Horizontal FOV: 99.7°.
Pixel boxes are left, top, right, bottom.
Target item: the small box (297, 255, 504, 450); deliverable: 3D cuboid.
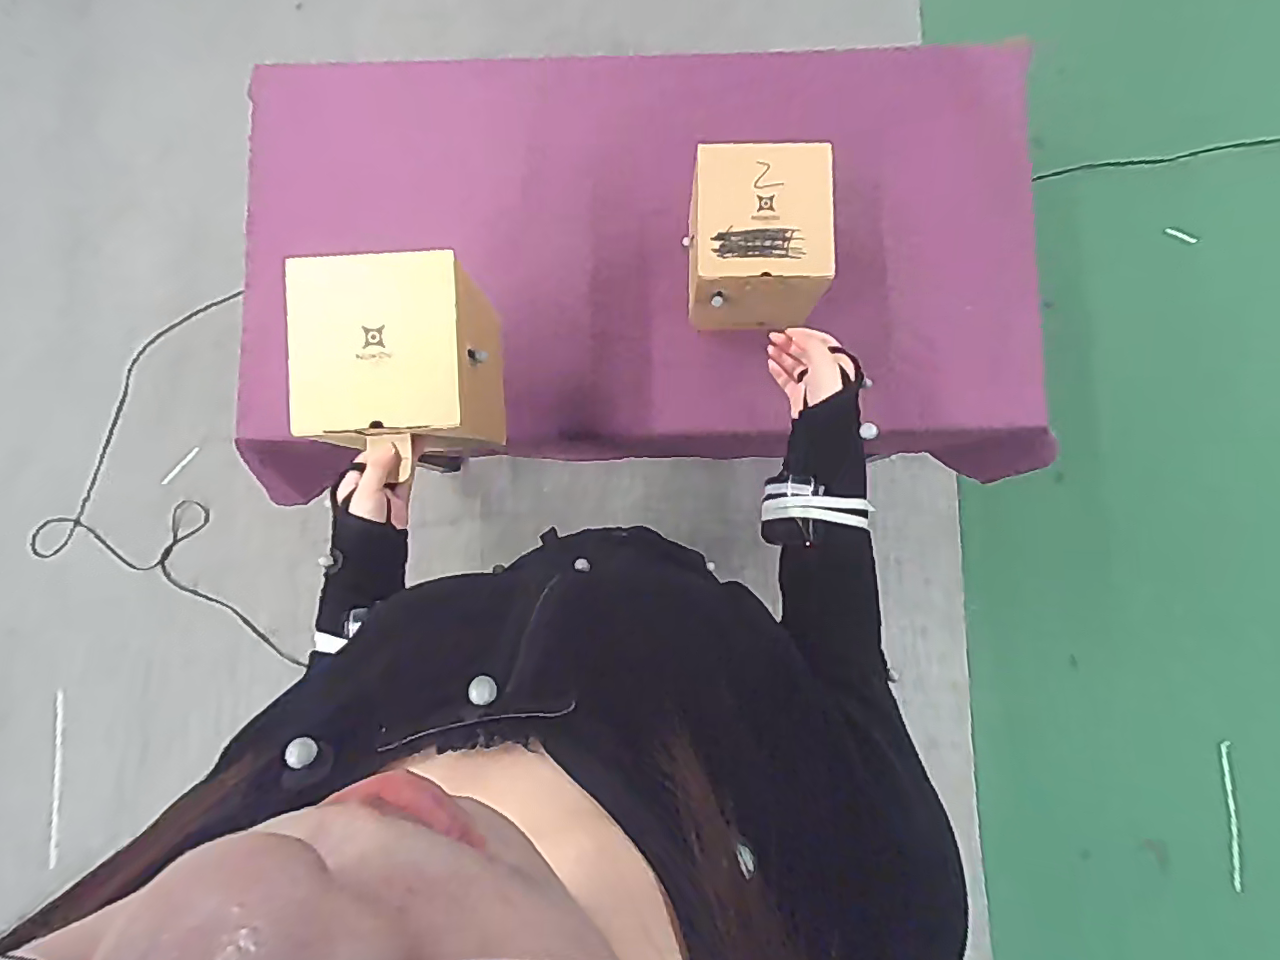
[{"bbox_3d":[-0.259,-0.133,0.619,0.168,0.176,0.179,-3,88,0],"label":"small box"}]
